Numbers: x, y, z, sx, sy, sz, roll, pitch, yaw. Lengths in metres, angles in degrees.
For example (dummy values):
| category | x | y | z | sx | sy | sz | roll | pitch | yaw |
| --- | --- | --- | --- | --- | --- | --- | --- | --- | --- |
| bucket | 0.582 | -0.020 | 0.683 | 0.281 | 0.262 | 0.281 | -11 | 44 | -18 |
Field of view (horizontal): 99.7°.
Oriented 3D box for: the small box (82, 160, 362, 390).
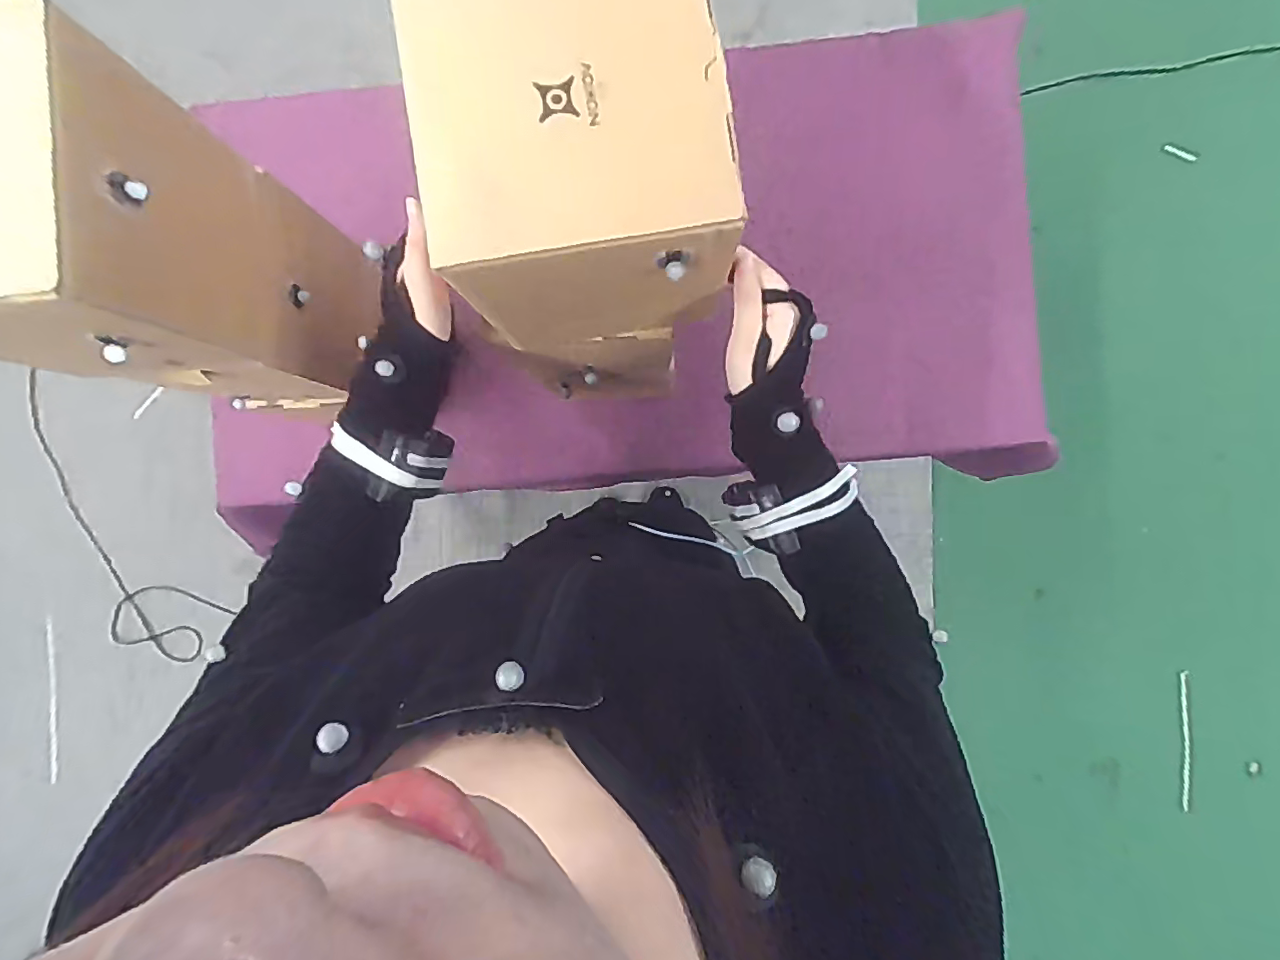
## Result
| category | x | y | z | sx | sy | sz | roll | pitch | yaw |
| --- | --- | --- | --- | --- | --- | --- | --- | --- | --- |
| small box | -0.404 | -0.189 | 0.547 | 0.168 | 0.176 | 0.179 | 0 | 89 | 1 |

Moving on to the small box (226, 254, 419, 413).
| category | x | y | z | sx | sy | sz | roll | pitch | yaw |
| --- | --- | --- | --- | --- | --- | --- | --- | --- | --- |
| small box | -0.404 | -0.181 | 0.712 | 0.168 | 0.176 | 0.179 | -1 | 90 | 0 |

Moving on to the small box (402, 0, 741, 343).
| category | x | y | z | sx | sy | sz | roll | pitch | yaw |
| --- | --- | --- | --- | --- | --- | --- | --- | --- | --- |
| small box | -0.037 | -0.203 | 0.377 | 0.179 | 0.176 | 0.168 | -7 | 89 | 0 |

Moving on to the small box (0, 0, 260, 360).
| category | x | y | z | sx | sy | sz | roll | pitch | yaw |
| --- | --- | --- | --- | --- | --- | --- | --- | --- | --- |
| small box | -0.406 | -0.186 | 0.384 | 0.168 | 0.176 | 0.179 | -2 | 89 | 0 |
